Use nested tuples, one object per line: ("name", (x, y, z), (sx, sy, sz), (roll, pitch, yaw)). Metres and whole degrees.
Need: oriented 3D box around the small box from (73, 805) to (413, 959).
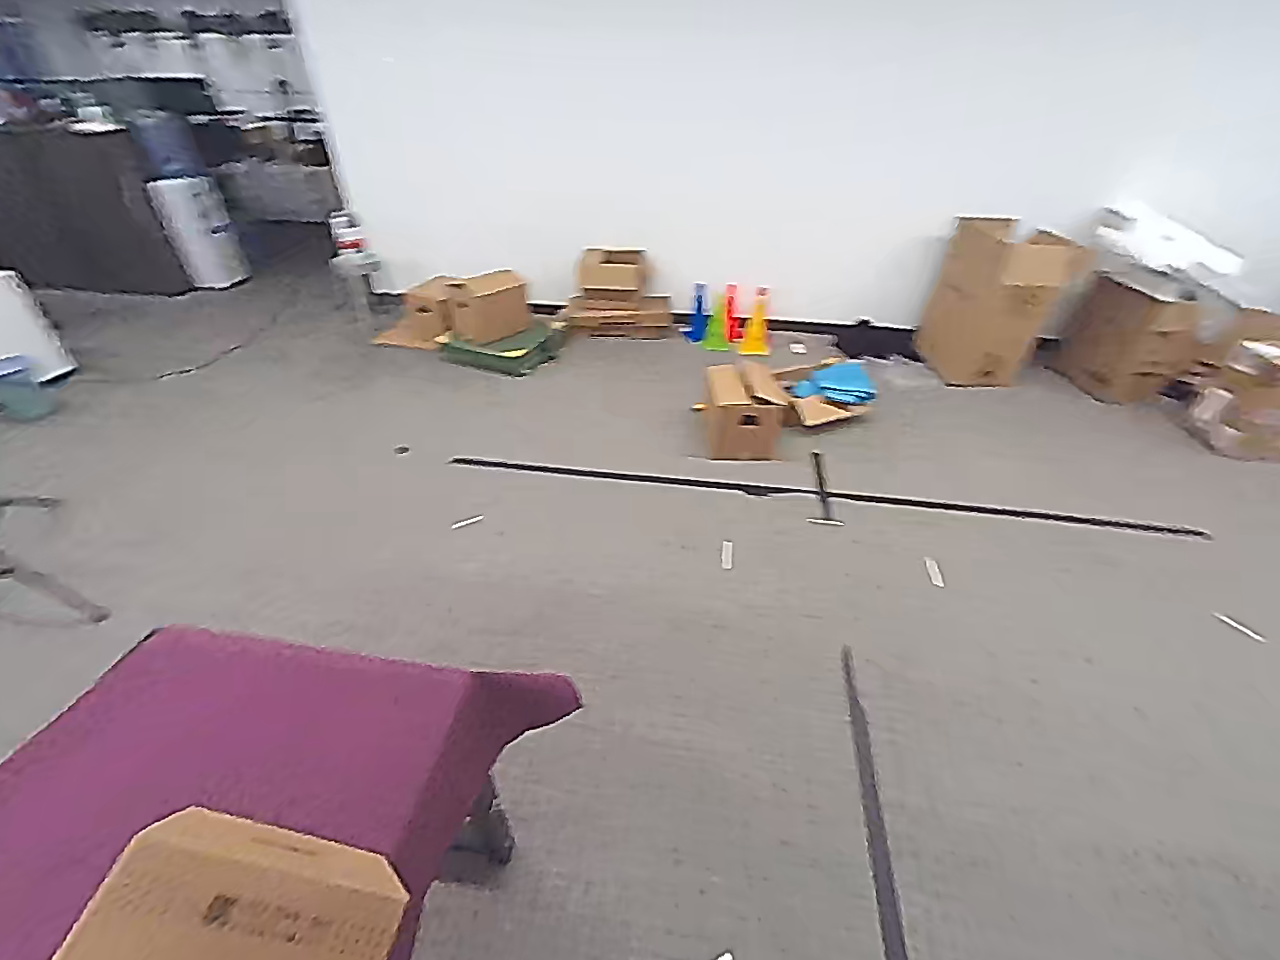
("small box", (-0.273, 0.336, 0.361), (0.168, 0.179, 0.176), (28, 57, -15))
